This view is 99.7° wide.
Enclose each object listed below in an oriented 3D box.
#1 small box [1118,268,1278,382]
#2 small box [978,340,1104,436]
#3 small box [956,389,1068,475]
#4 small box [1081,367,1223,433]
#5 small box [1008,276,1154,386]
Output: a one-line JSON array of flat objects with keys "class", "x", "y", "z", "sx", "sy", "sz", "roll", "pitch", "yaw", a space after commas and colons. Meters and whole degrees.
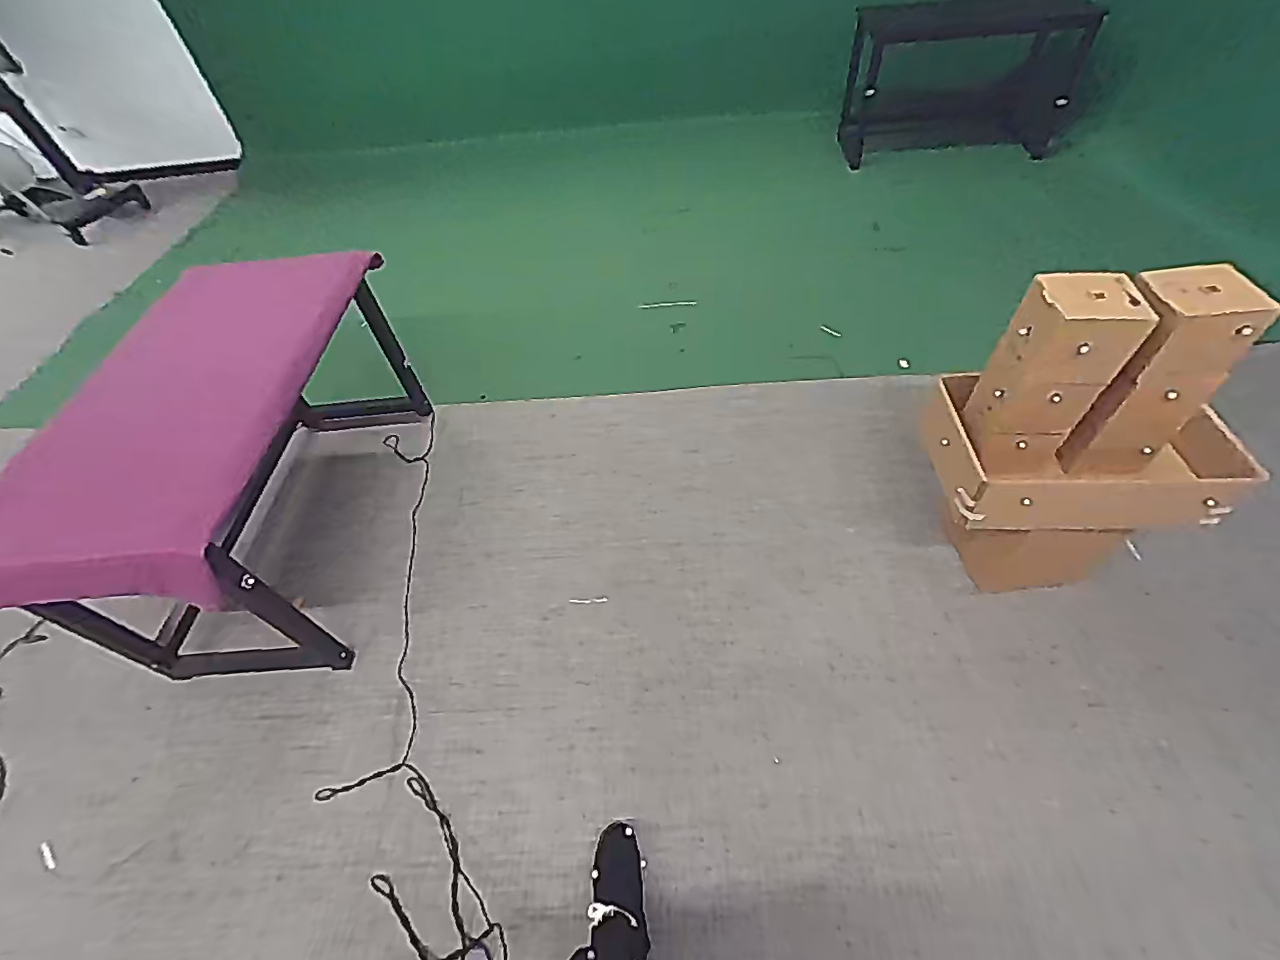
[{"class": "small box", "x": 1.153, "y": -0.327, "z": 1.157, "sx": 0.179, "sy": 0.176, "sz": 0.168, "roll": -3, "pitch": 51, "yaw": 7}, {"class": "small box", "x": 0.945, "y": -0.220, "z": 1.300, "sx": 0.179, "sy": 0.176, "sz": 0.168, "roll": 2, "pitch": 52, "yaw": 7}, {"class": "small box", "x": 0.967, "y": -0.125, "z": 1.431, "sx": 0.179, "sy": 0.176, "sz": 0.168, "roll": 1, "pitch": 51, "yaw": 5}, {"class": "small box", "x": 1.186, "y": -0.225, "z": 1.284, "sx": 0.179, "sy": 0.176, "sz": 0.168, "roll": -2, "pitch": 52, "yaw": 8}, {"class": "small box", "x": 0.932, "y": -0.319, "z": 1.171, "sx": 0.179, "sy": 0.176, "sz": 0.168, "roll": 2, "pitch": 53, "yaw": 8}]
